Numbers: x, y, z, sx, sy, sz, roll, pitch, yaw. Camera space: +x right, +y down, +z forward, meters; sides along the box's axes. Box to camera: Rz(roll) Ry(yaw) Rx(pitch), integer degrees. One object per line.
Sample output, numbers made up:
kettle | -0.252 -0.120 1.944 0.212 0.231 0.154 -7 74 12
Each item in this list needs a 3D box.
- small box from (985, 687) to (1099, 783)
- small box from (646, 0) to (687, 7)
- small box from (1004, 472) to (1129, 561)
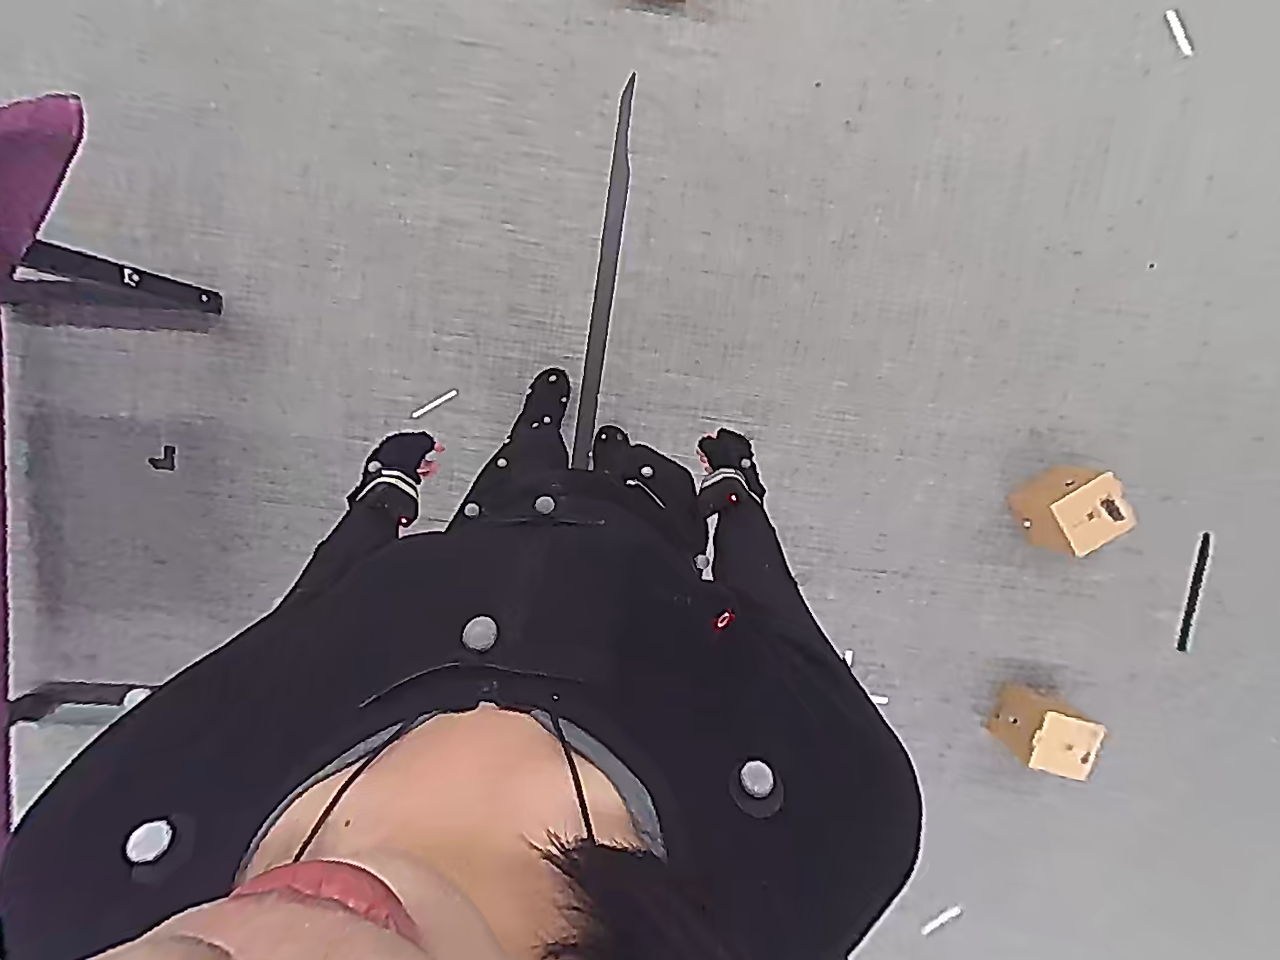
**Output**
small box | 1.137 0.719 1.544 0.179 0.176 0.168 17 96 -3
small box | 0.052 -1.296 1.290 0.168 0.176 0.179 8 97 -1
small box | 1.154 0.091 1.476 0.179 0.176 0.168 -32 96 3
